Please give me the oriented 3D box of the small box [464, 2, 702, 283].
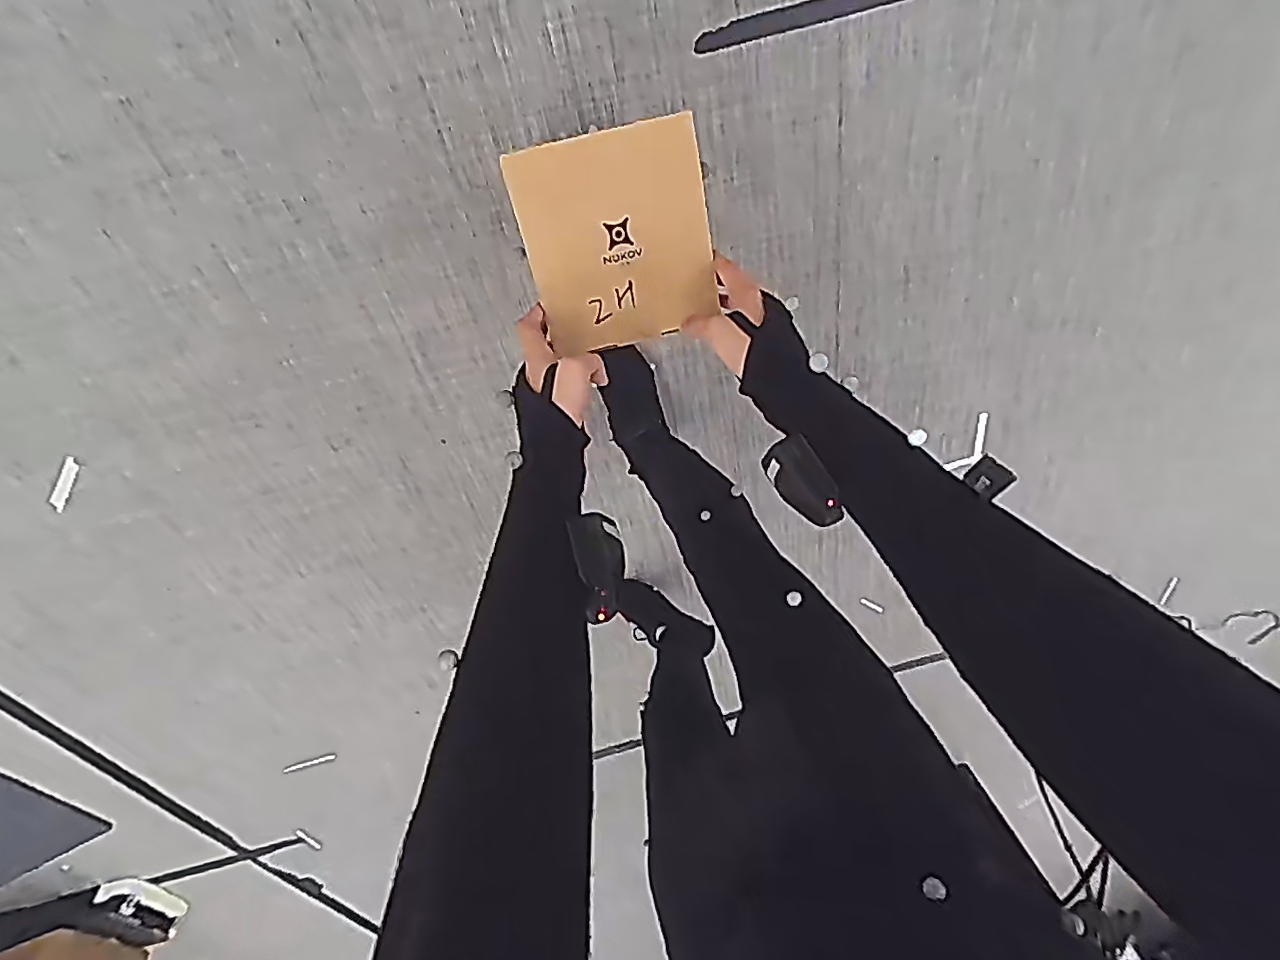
[{"bbox_3d":[-0.051,-0.299,0.508,0.168,0.176,0.179,-14,118,-3],"label":"small box"}]
